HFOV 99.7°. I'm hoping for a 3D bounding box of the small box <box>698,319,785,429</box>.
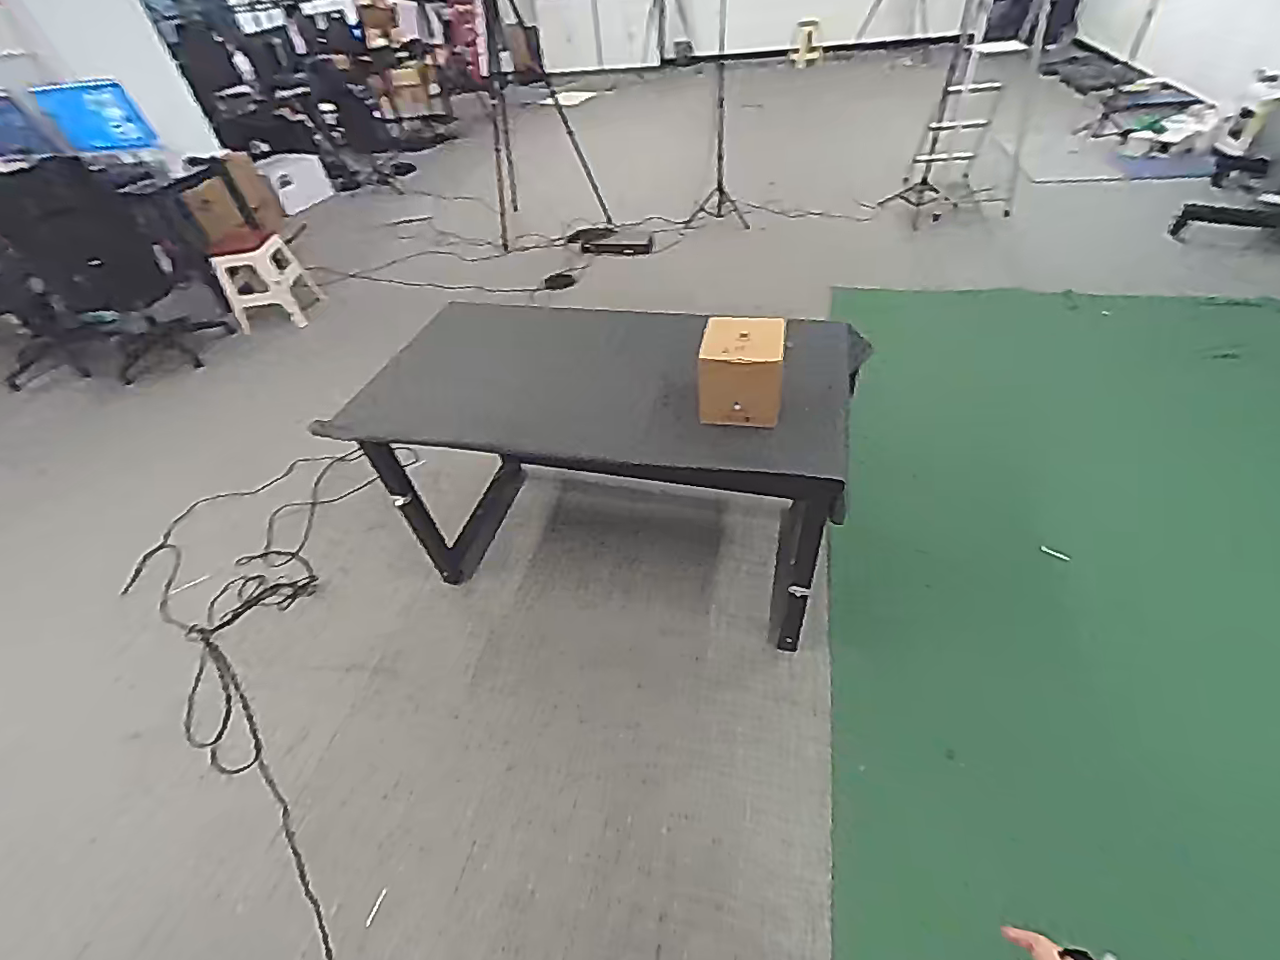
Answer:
[{"bbox_3d":[0.223,-0.233,1.184,0.168,0.176,0.179,4,46,14],"label":"small box"}]
